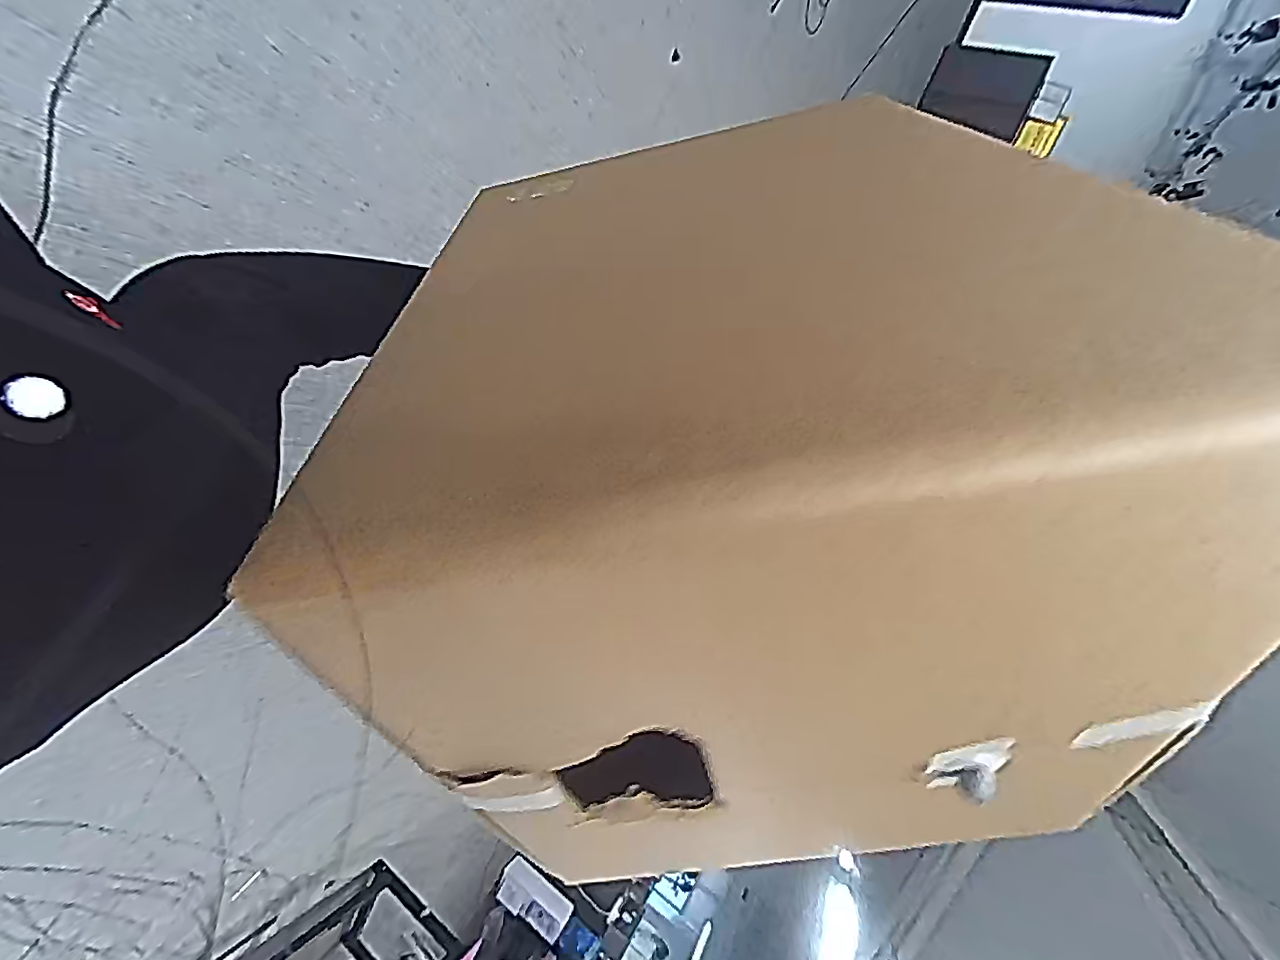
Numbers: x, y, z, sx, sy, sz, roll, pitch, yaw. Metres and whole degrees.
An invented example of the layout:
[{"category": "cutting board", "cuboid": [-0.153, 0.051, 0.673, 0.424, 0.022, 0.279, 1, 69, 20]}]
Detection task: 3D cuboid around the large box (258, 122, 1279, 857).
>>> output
[{"category": "large box", "cuboid": [0.058, -0.015, 0.386, 0.408, 0.320, 0.320, -92, 171, -48]}]
